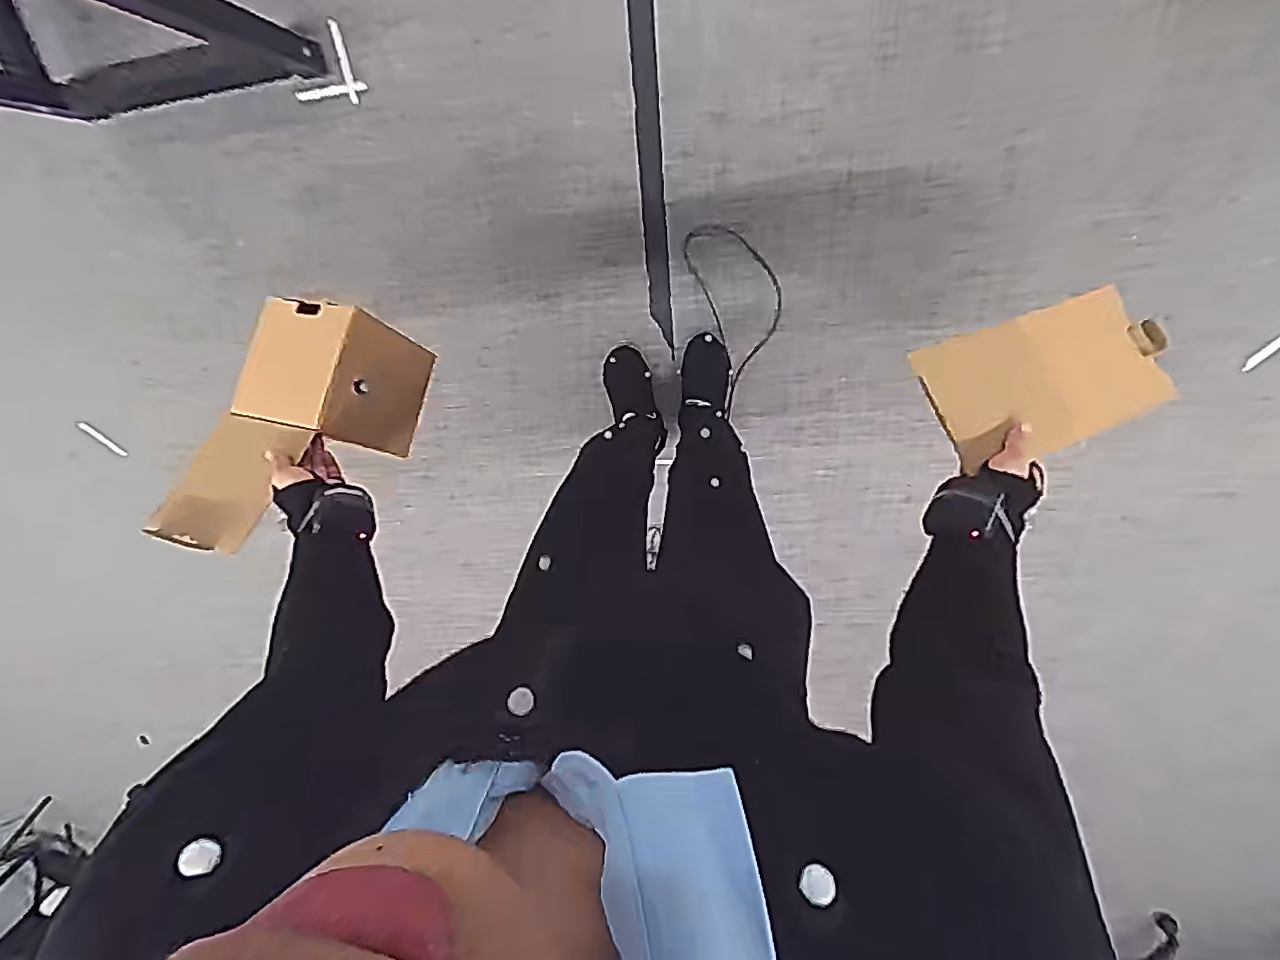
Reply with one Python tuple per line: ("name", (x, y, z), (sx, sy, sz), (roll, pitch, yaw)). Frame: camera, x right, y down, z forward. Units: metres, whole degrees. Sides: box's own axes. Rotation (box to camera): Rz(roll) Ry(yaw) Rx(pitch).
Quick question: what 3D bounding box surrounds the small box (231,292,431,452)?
("small box", (-0.439, -0.149, 0.793), (0.168, 0.176, 0.179), (11, 82, 18))
